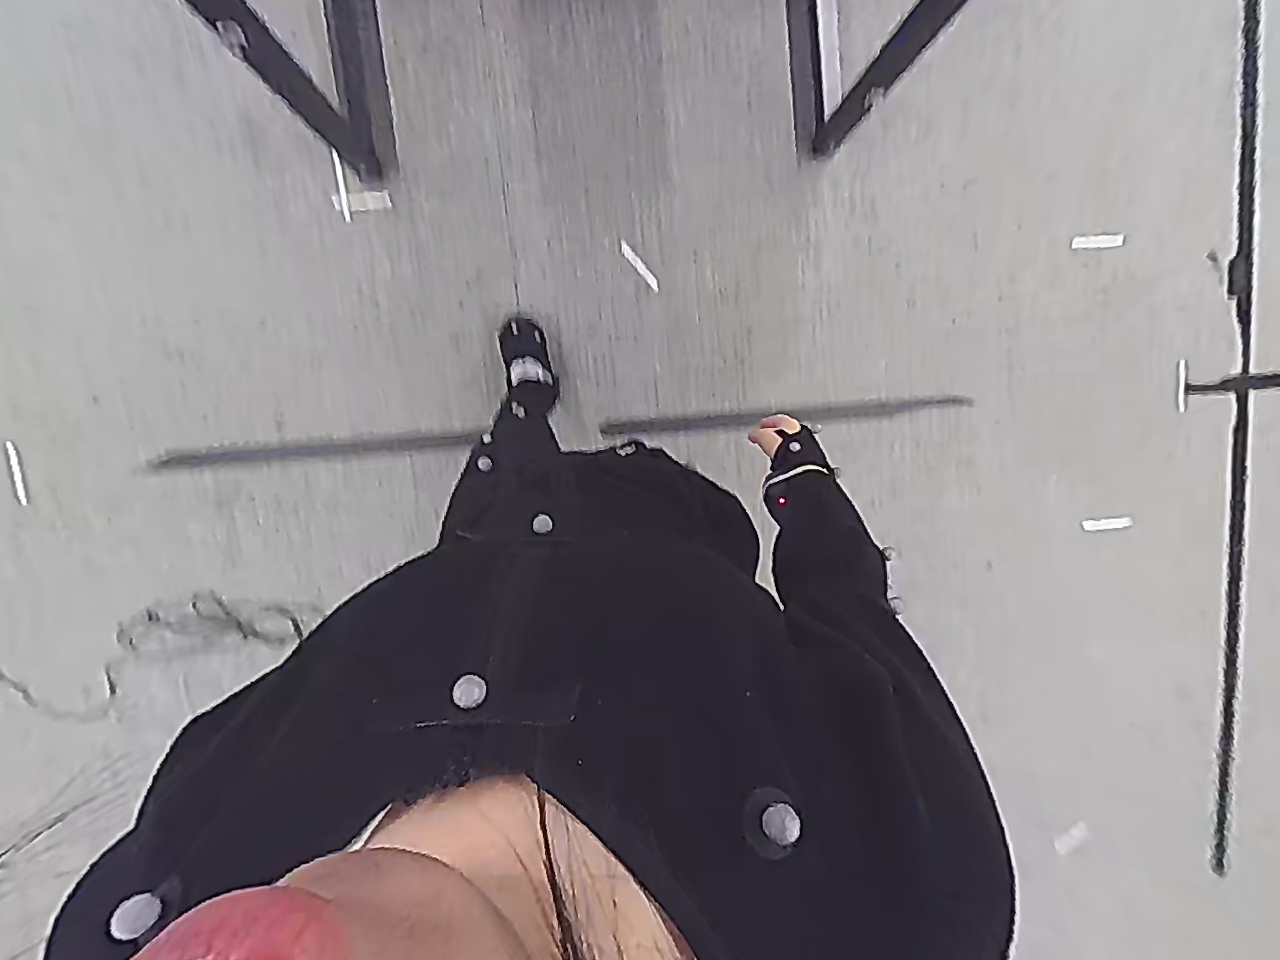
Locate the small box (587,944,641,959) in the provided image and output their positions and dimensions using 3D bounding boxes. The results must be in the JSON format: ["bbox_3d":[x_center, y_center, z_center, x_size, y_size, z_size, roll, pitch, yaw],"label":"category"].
[{"bbox_3d":[-0.073,1.510,1.569,0.179,0.176,0.168,-10,98,-5],"label":"small box"}]
